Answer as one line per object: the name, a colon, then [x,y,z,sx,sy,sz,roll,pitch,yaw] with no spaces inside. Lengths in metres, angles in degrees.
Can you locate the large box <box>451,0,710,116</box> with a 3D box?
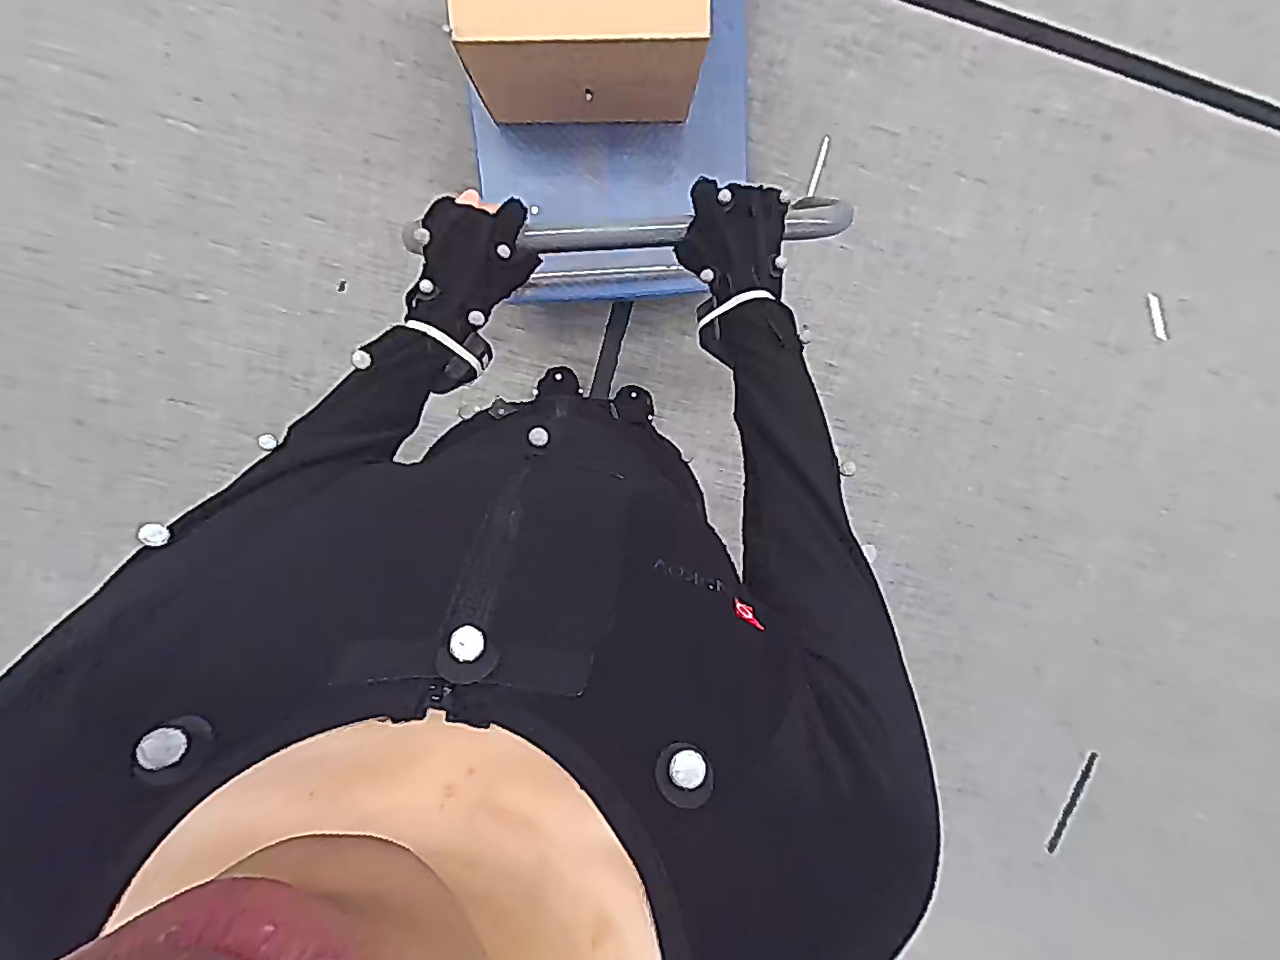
large box: [-0.098,-0.874,0.949,0.408,0.320,0.320,-2,103,-1]
